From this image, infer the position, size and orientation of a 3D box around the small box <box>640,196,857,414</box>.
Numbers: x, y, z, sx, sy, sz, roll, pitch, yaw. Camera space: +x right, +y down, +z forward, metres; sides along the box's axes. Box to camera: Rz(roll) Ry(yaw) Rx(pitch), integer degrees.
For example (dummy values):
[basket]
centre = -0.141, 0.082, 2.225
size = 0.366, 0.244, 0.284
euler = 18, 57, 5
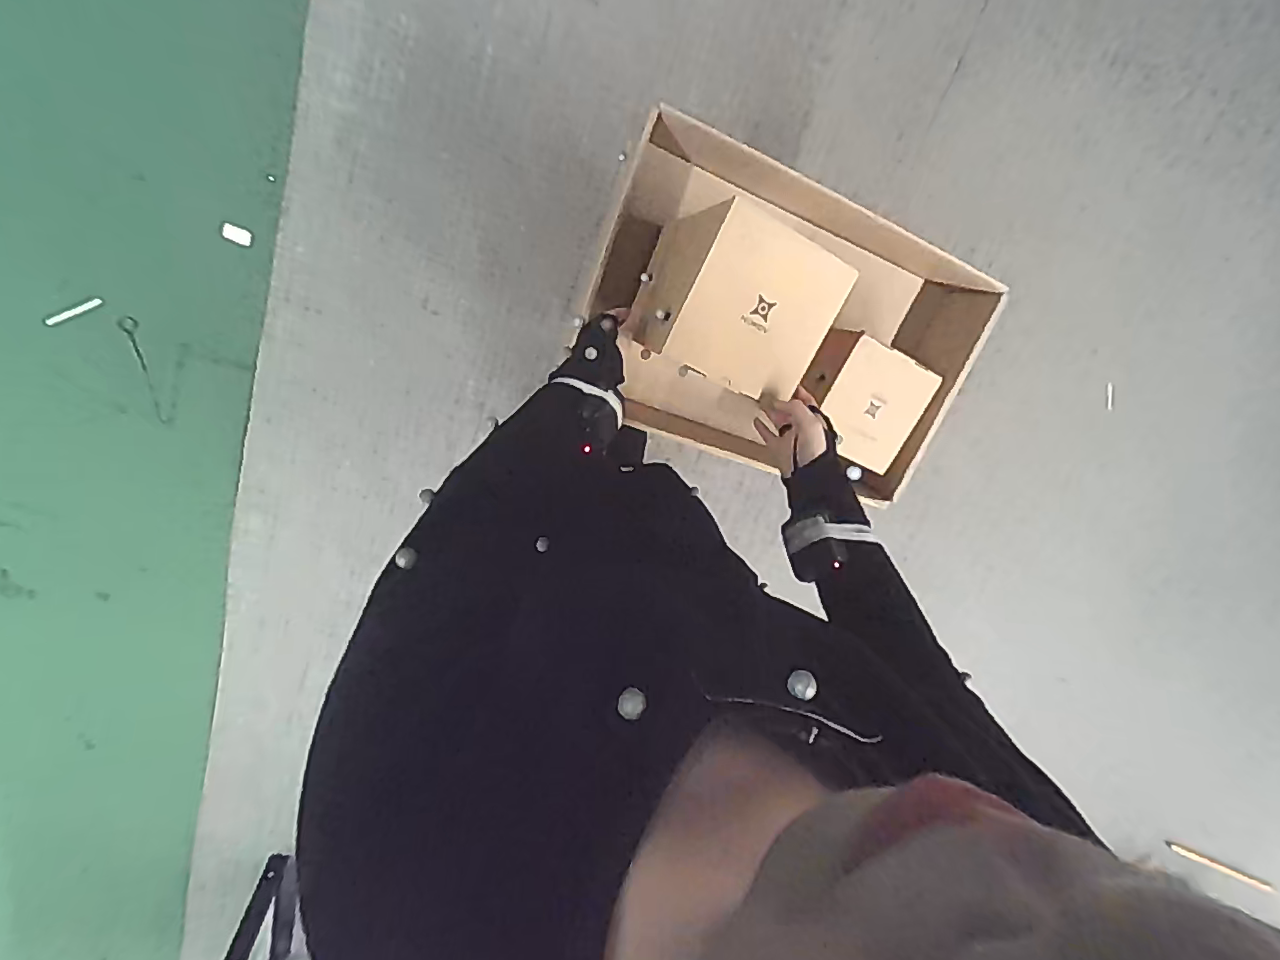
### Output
[small box]
centre = 0.114, -0.207, 0.654
size = 0.168, 0.176, 0.179
euler = 22, 105, -18
